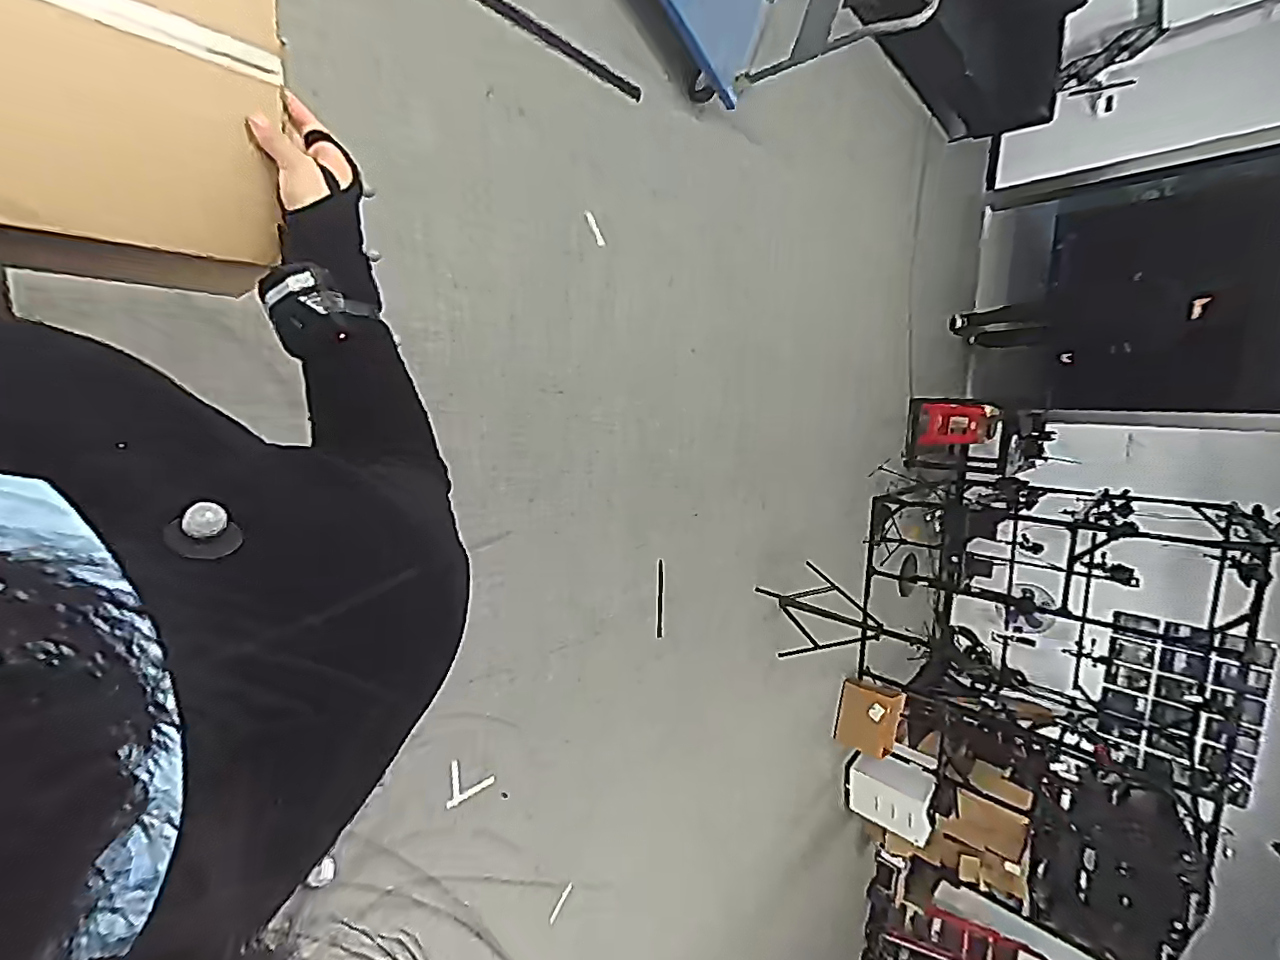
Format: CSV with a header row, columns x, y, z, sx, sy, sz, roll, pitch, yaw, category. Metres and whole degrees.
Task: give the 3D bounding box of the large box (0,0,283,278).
x,y,z,sx,sy,sz,roll,pitch,yaw,category
-0.560,-0.361,0.434,0.408,0.320,0.320,-6,103,-43,large box
